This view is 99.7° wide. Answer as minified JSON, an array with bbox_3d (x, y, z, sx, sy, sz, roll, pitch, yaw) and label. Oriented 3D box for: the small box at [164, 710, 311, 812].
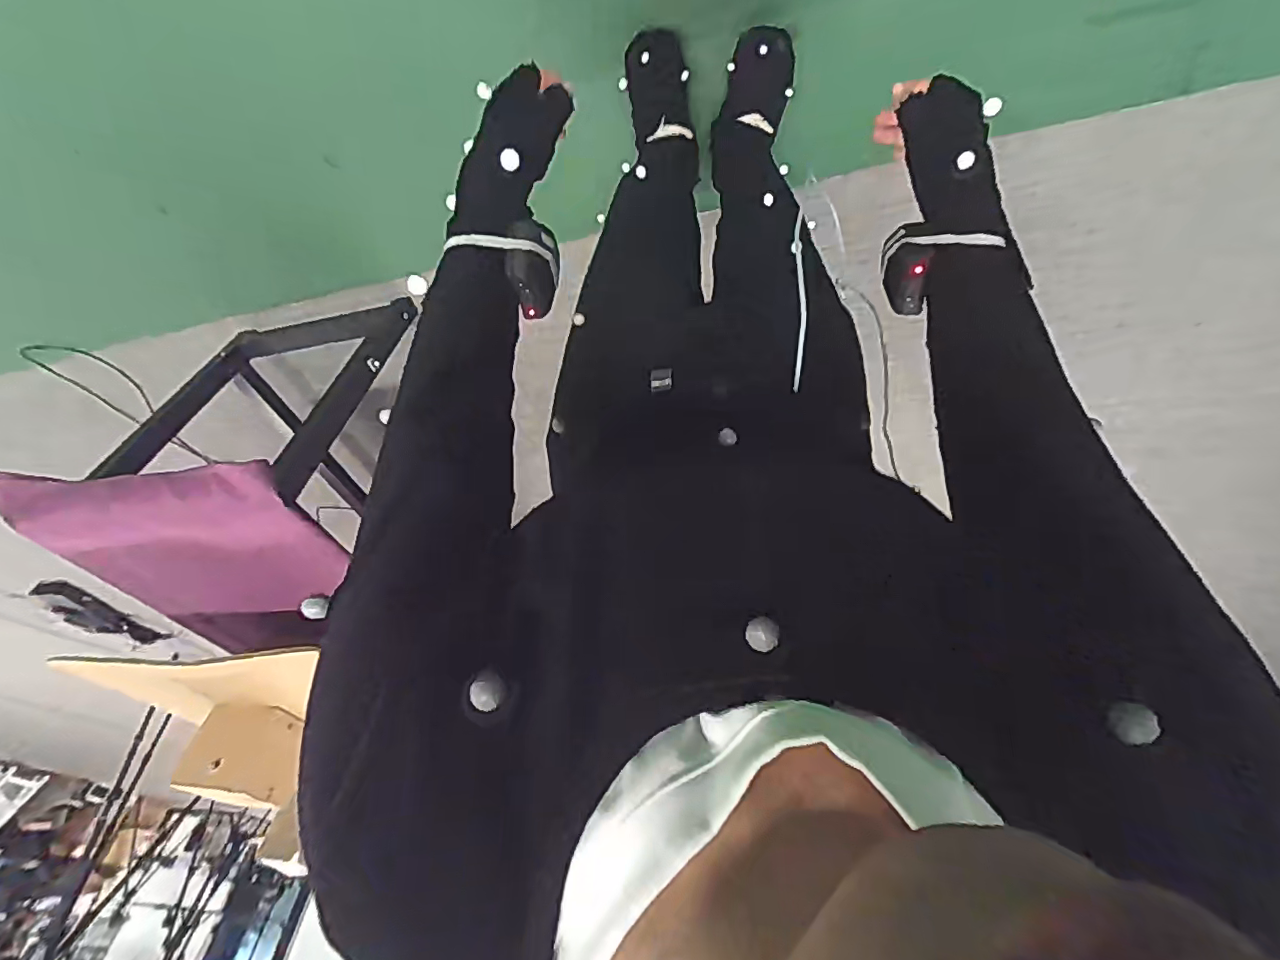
[{"bbox_3d":[-0.874,0.622,1.201,0.179,0.176,0.168,-6,137,14],"label":"small box"}]
